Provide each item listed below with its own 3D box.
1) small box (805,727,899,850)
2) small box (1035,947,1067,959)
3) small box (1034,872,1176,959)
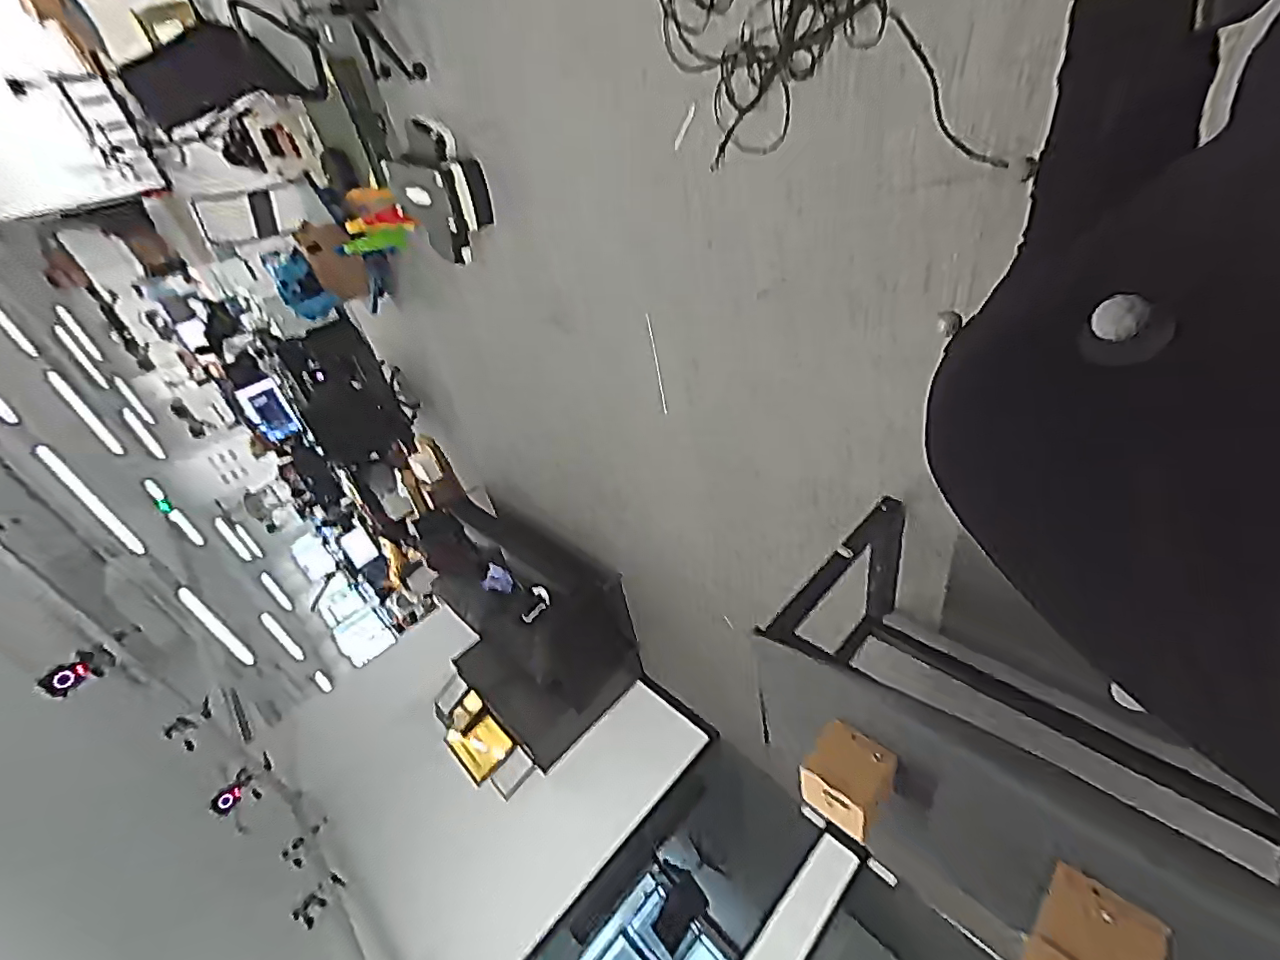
[{"bbox_3d":[0.532,0.765,1.356,0.168,0.176,0.179,23,139,42],"label":"small box"},{"bbox_3d":[0.753,0.978,0.935,0.168,0.176,0.179,21,136,44],"label":"small box"},{"bbox_3d":[0.869,0.902,1.019,0.168,0.176,0.179,19,135,44],"label":"small box"}]
